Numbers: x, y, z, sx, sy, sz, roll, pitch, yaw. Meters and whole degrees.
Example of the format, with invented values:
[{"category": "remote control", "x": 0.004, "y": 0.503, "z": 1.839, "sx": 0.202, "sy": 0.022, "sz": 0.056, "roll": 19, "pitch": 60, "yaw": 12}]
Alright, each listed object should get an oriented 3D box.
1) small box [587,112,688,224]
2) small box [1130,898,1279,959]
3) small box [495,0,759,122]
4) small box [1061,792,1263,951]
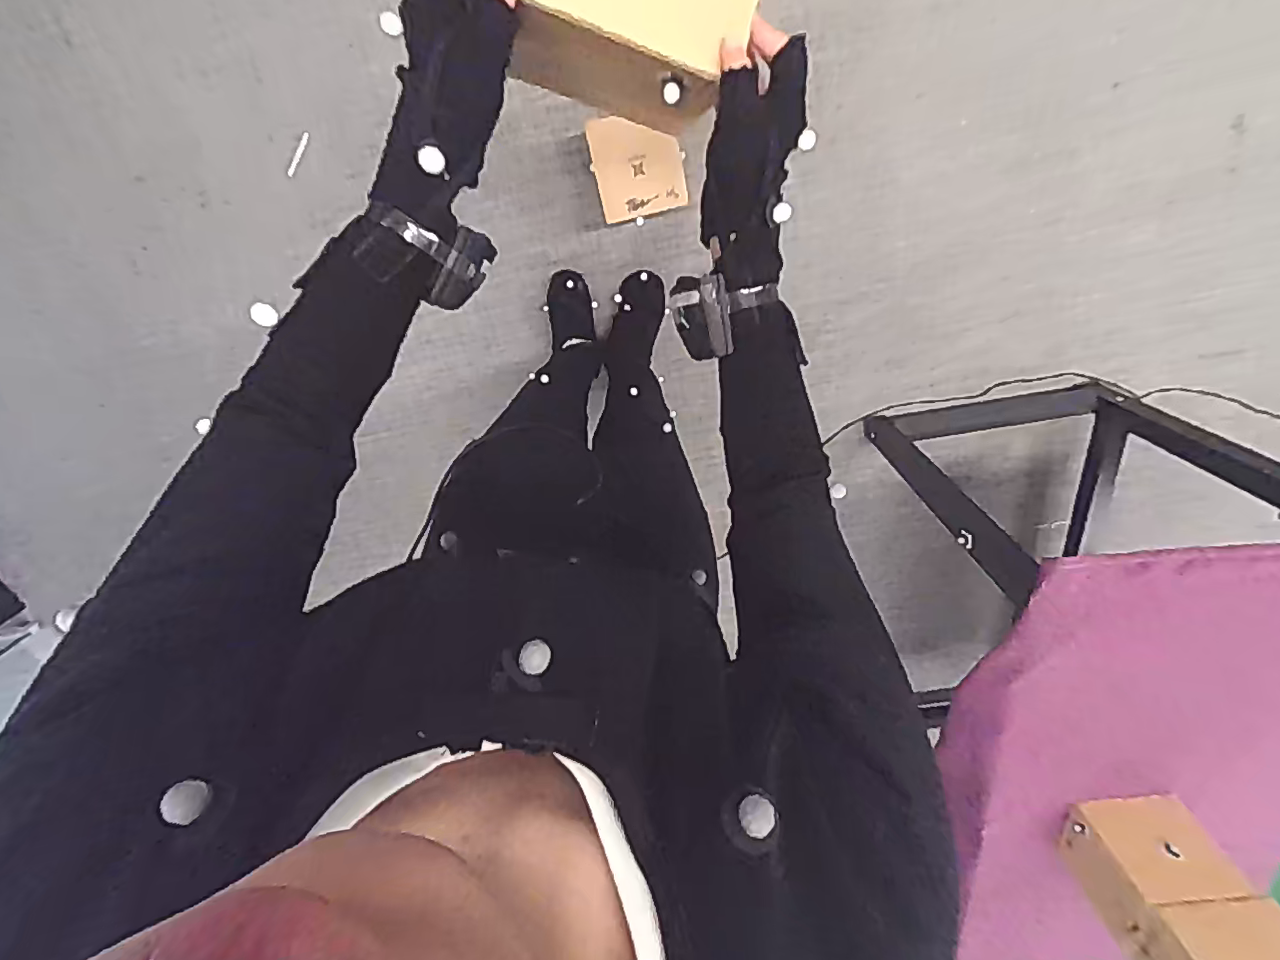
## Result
[{"category": "small box", "x": -0.003, "y": -0.625, "z": 1.085, "sx": 0.168, "sy": 0.176, "sz": 0.179, "roll": -11, "pitch": 117, "yaw": 6}, {"category": "small box", "x": 0.901, "y": 0.756, "z": 0.804, "sx": 0.179, "sy": 0.176, "sz": 0.168, "roll": -8, "pitch": 117, "yaw": 5}, {"category": "small box", "x": -0.009, "y": -0.396, "z": 0.400, "sx": 0.179, "sy": 0.176, "sz": 0.168, "roll": 9, "pitch": 109, "yaw": -16}, {"category": "small box", "x": 0.894, "y": 0.682, "z": 0.951, "sx": 0.179, "sy": 0.176, "sz": 0.168, "roll": -8, "pitch": 118, "yaw": 4}]
